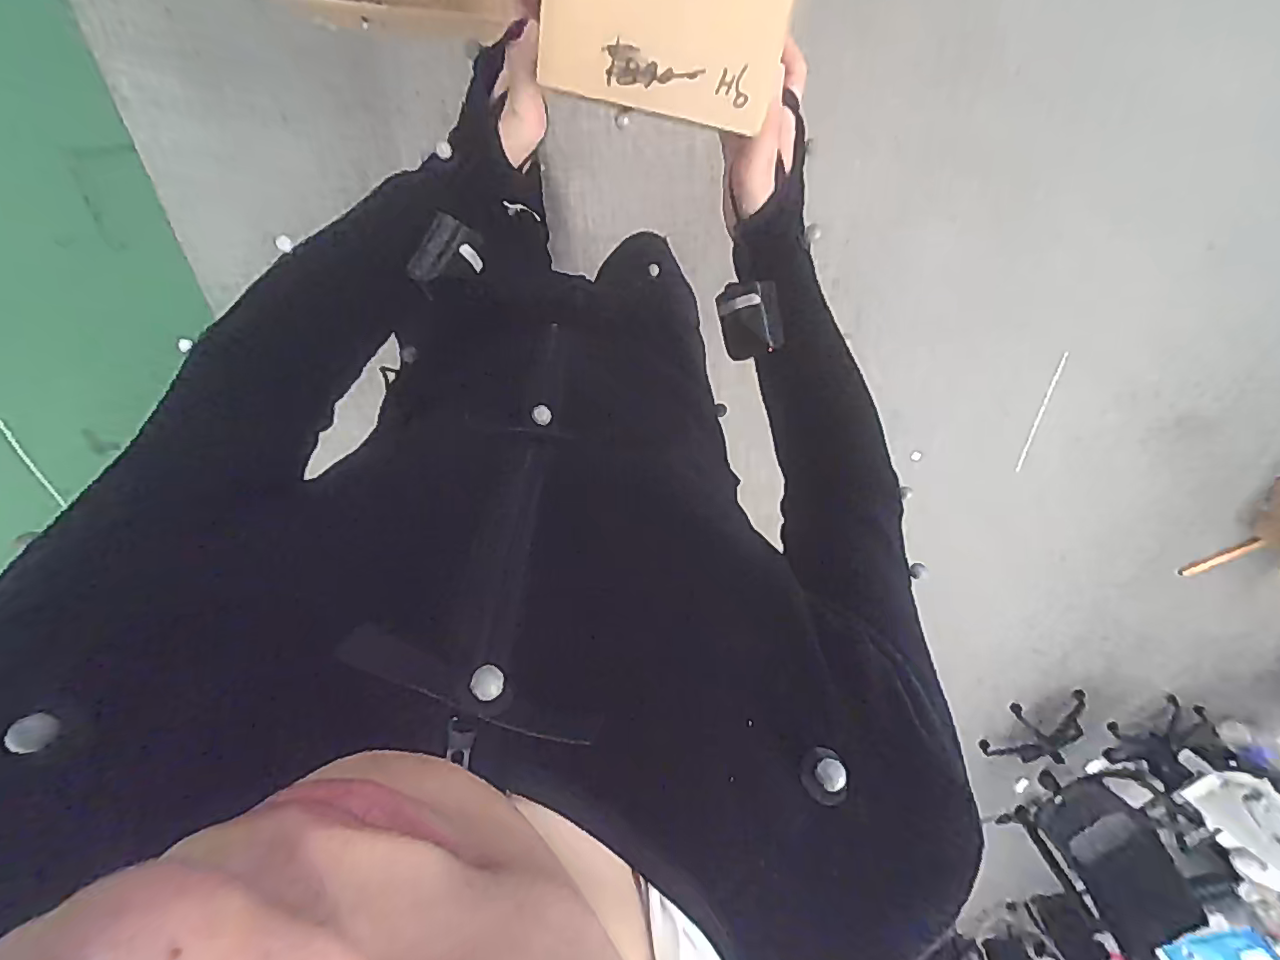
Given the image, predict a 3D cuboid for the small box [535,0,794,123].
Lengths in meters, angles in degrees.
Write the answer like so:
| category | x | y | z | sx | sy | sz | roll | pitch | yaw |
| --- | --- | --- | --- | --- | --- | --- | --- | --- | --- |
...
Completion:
| category | x | y | z | sx | sy | sz | roll | pitch | yaw |
| --- | --- | --- | --- | --- | --- | --- | --- | --- | --- |
| small box | 0.016 | -0.383 | 0.396 | 0.168 | 0.176 | 0.179 | 6 | 124 | -11 |
